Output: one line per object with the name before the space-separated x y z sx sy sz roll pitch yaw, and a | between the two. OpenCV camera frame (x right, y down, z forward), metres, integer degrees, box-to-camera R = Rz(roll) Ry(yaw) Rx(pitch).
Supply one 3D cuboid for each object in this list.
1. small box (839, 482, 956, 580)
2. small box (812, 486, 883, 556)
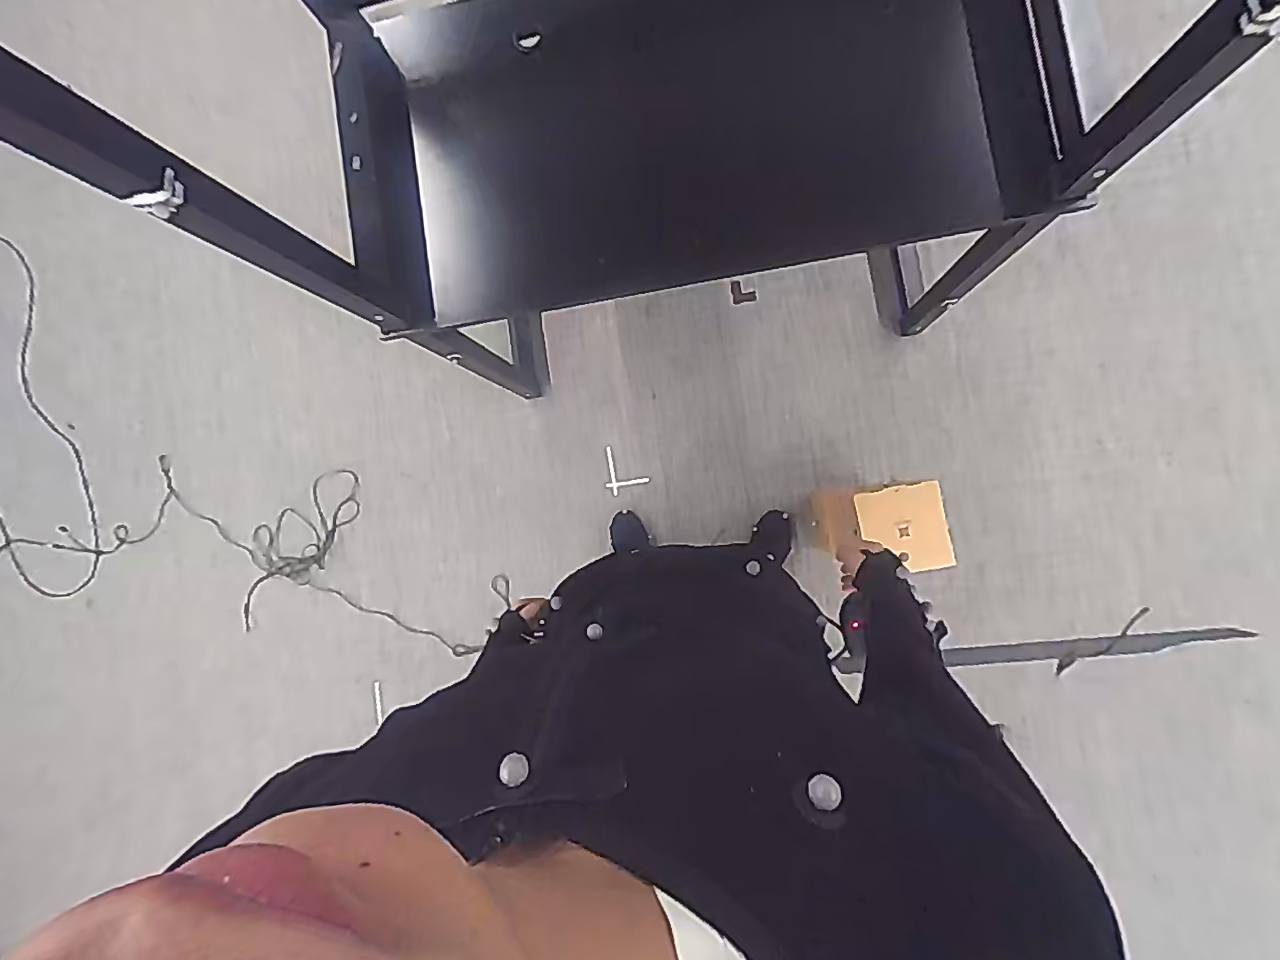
small box | 0.538 0.103 1.152 0.168 0.176 0.179 -12 87 8
small box | 0.583 0.107 1.476 0.179 0.176 0.168 -10 86 9
